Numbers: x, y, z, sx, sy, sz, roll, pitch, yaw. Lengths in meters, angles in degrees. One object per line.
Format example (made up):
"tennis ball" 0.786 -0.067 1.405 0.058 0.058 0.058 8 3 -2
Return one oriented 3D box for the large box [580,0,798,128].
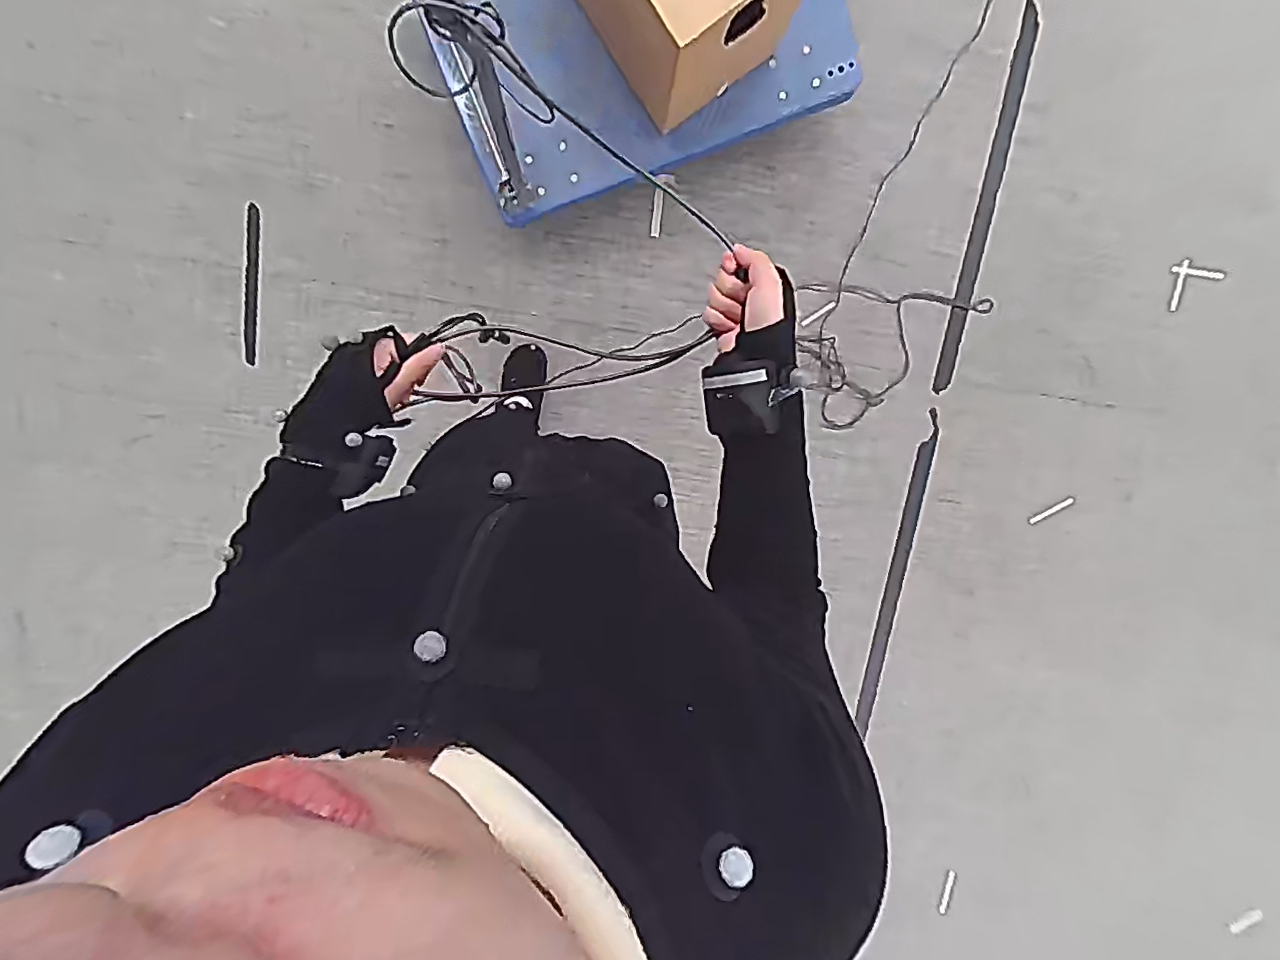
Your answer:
"large box" 0.068 -0.990 1.007 0.320 0.320 0.408 -36 100 4
